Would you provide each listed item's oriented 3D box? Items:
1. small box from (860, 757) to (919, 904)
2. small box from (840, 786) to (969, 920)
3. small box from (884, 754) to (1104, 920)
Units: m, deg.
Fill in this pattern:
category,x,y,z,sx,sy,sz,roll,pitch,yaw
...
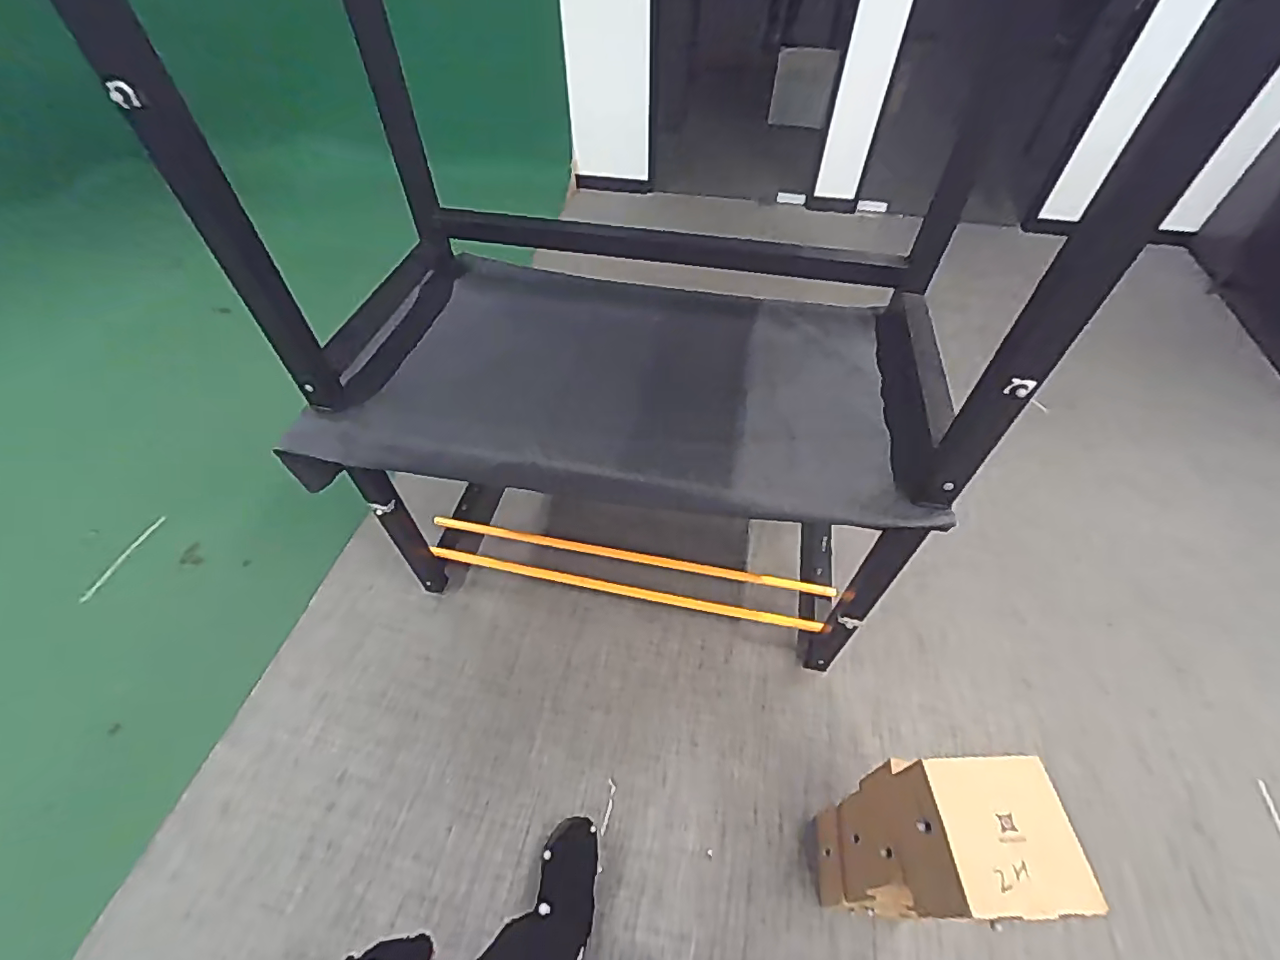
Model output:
category,x,y,z,sx,sy,sz,roll,pitch,yaw
small box,0.470,0.585,0.887,0.168,0.176,0.179,9,52,8
small box,0.482,0.695,1.007,0.168,0.176,0.179,7,50,6
small box,0.464,0.496,0.749,0.168,0.176,0.179,-1,51,0
